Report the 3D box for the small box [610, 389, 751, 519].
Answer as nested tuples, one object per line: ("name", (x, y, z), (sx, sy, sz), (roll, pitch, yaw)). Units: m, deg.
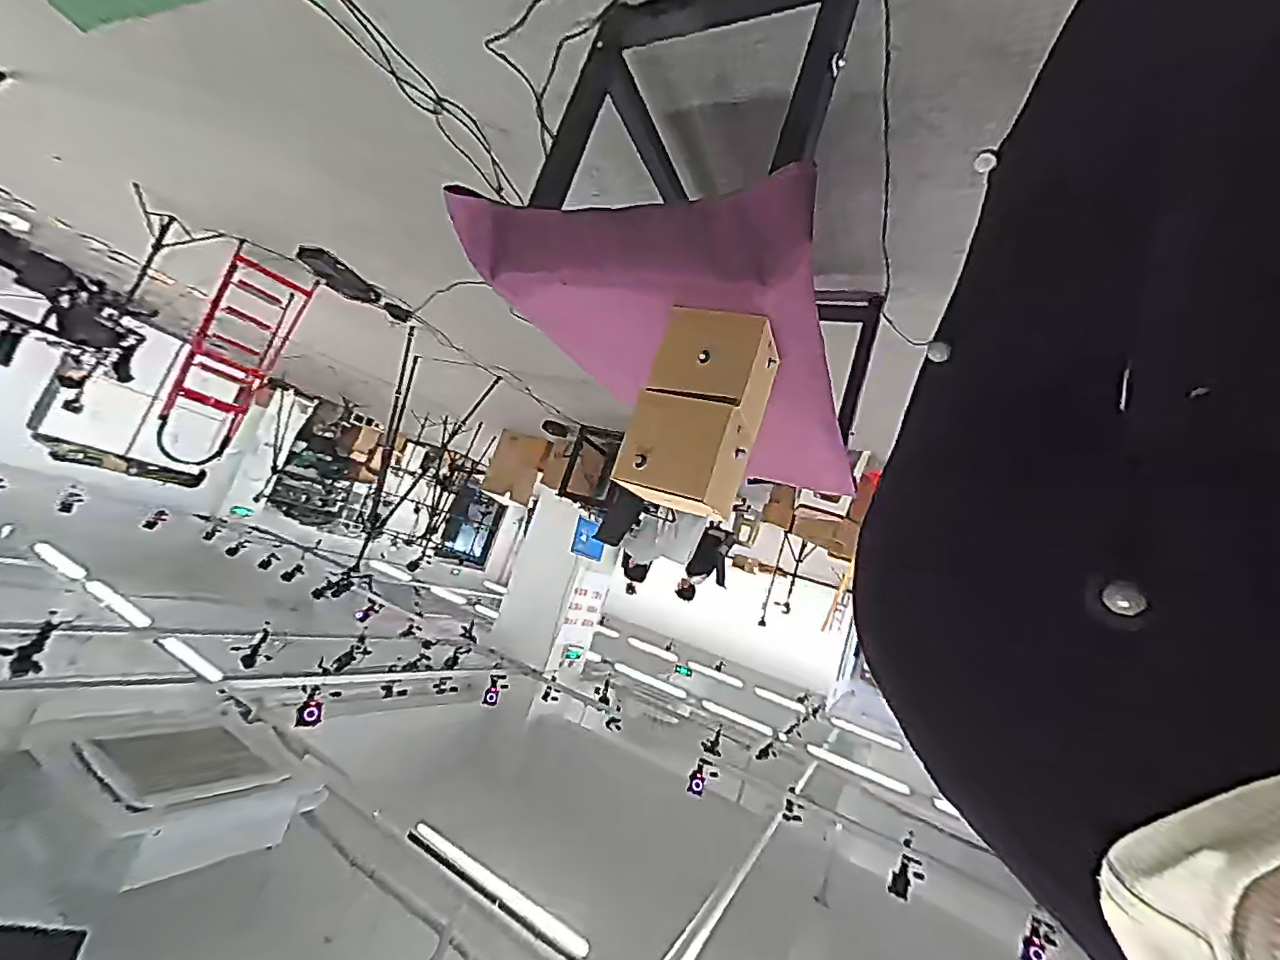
("small box", (0.078, -0.047, 0.956), (0.179, 0.176, 0.168), (14, 171, 26))
